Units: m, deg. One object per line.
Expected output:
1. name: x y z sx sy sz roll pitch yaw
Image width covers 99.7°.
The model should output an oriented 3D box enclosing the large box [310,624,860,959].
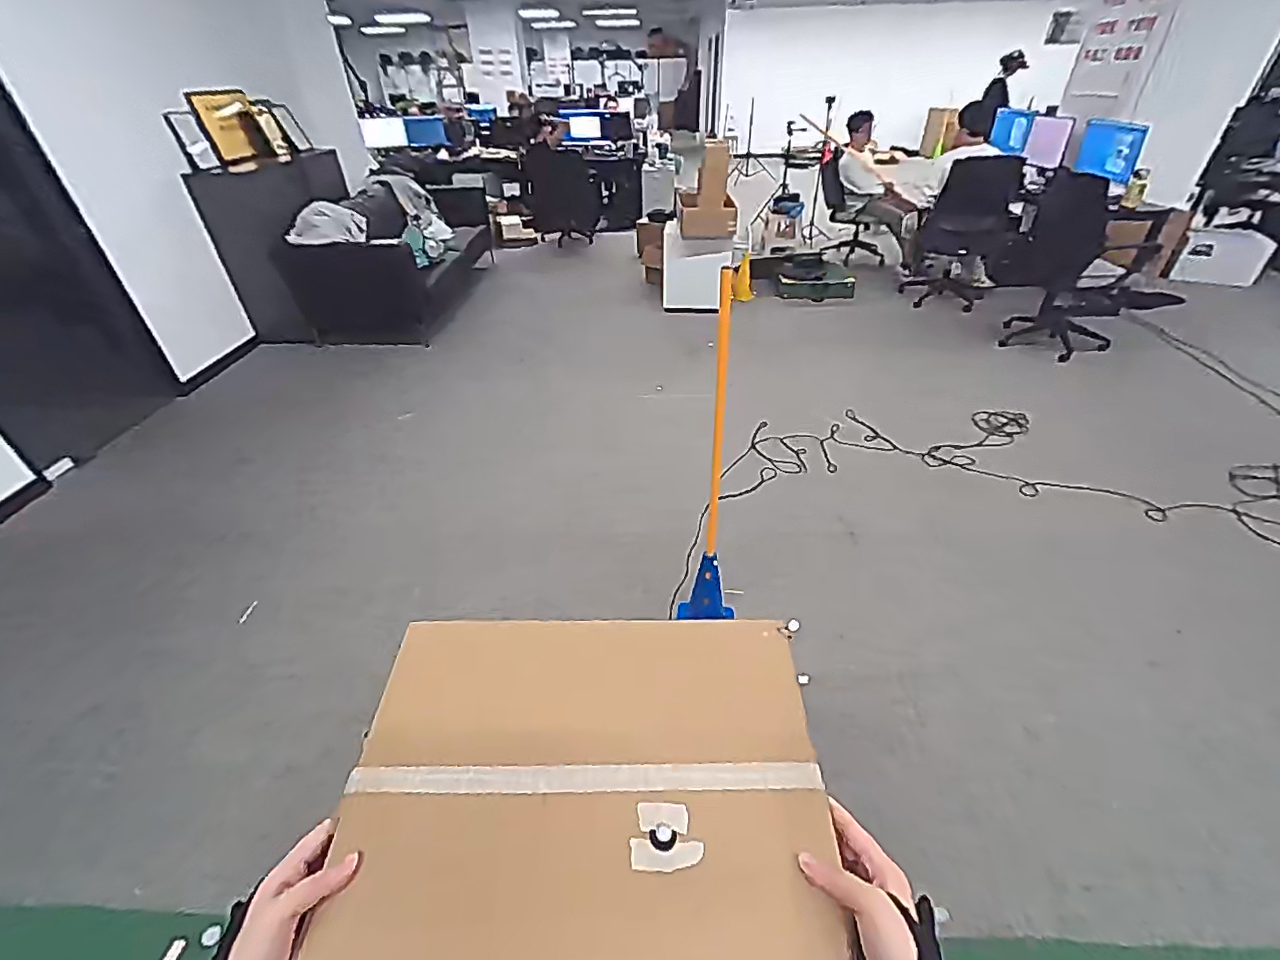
1. large box: -0.044 0.372 0.579 0.408 0.320 0.320 0 44 0

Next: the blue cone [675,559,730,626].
1. blue cone: 0.211 0.394 1.771 0.193 0.380 0.192 6 38 9
